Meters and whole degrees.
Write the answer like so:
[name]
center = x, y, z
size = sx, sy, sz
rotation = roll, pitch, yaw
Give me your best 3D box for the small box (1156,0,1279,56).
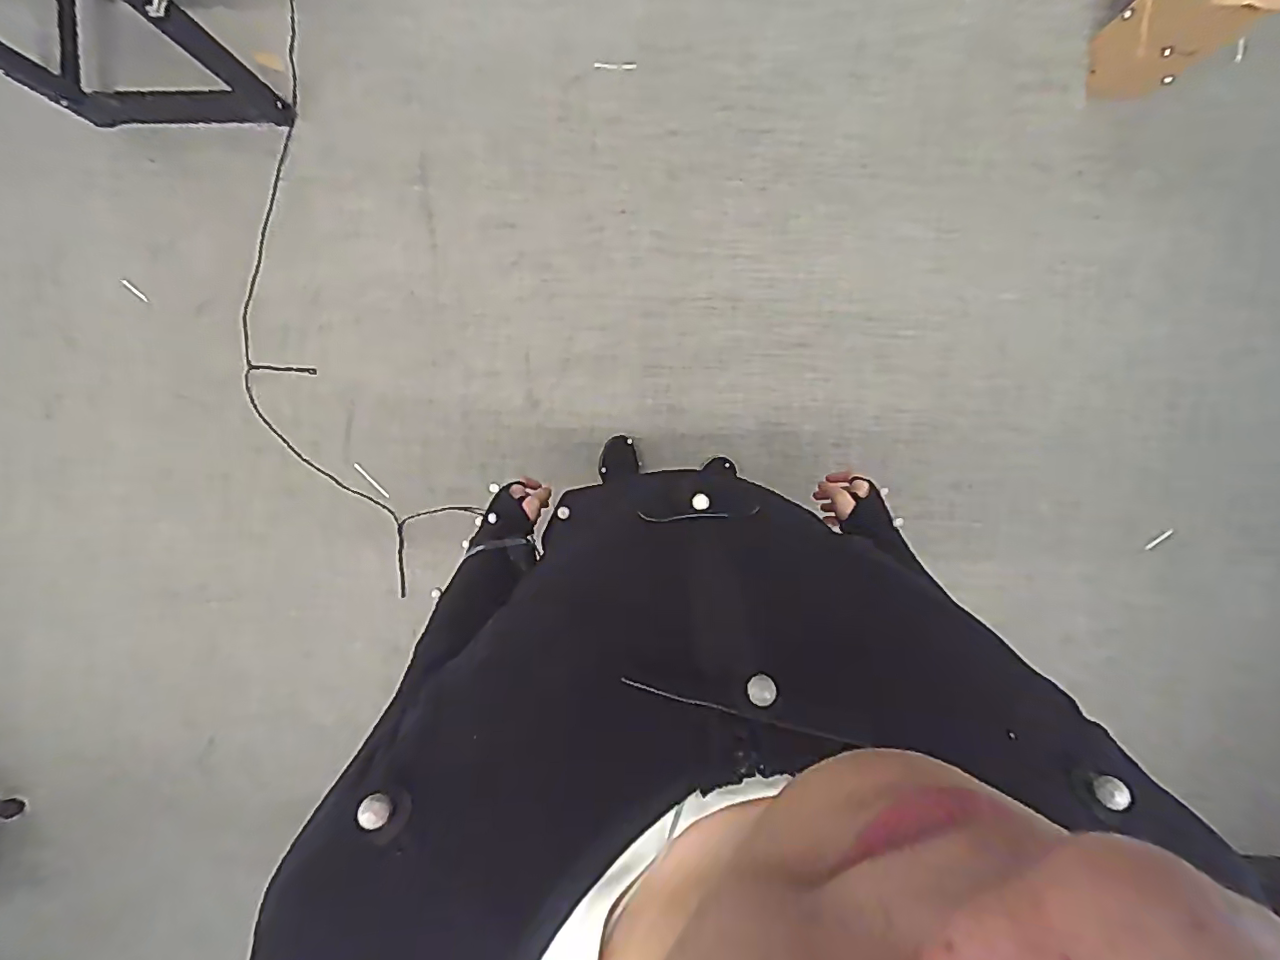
[small box]
center = 1.366, -1.137, 1.260
size = 0.168, 0.176, 0.179
rotation = 5, 94, 0
